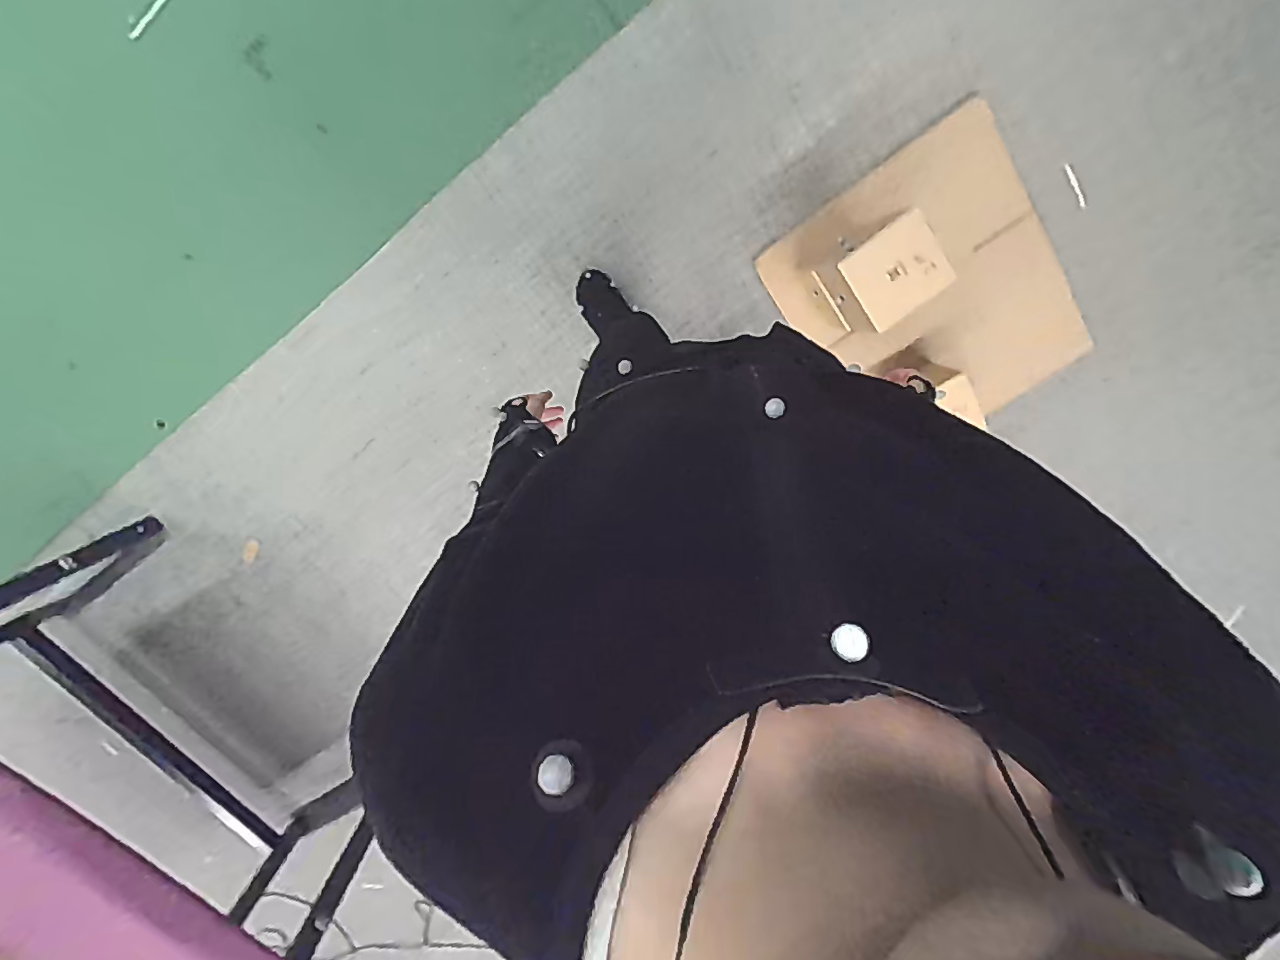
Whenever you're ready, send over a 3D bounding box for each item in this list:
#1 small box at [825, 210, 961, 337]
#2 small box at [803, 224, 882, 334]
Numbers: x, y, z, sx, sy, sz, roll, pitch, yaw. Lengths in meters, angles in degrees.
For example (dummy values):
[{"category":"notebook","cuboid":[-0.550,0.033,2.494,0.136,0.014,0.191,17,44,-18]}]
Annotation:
[{"category":"small box","cuboid":[0.503,-0.416,1.111,0.179,0.176,0.168,-35,105,12]},{"category":"small box","cuboid":[0.503,-0.465,1.268,0.179,0.176,0.168,-36,105,12]}]
